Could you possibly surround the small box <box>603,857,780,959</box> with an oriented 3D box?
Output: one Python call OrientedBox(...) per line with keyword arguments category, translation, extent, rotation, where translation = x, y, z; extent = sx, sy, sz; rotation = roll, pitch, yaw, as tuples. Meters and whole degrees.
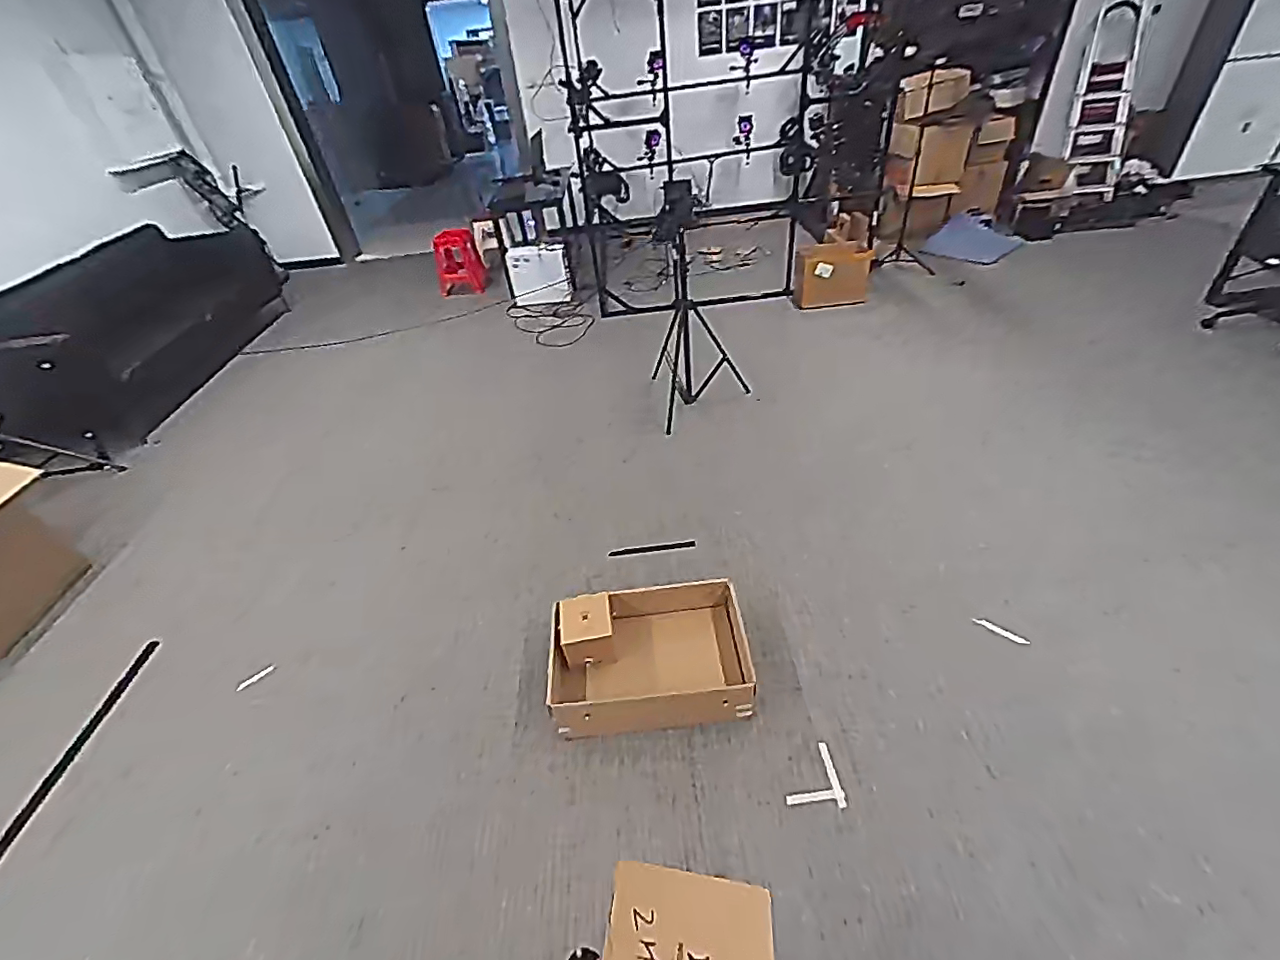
OrientedBox(category="small box", translation=(0.045, 0.546, 0.577), extent=(0.179, 0.176, 0.168), rotation=(9, 33, 4))
